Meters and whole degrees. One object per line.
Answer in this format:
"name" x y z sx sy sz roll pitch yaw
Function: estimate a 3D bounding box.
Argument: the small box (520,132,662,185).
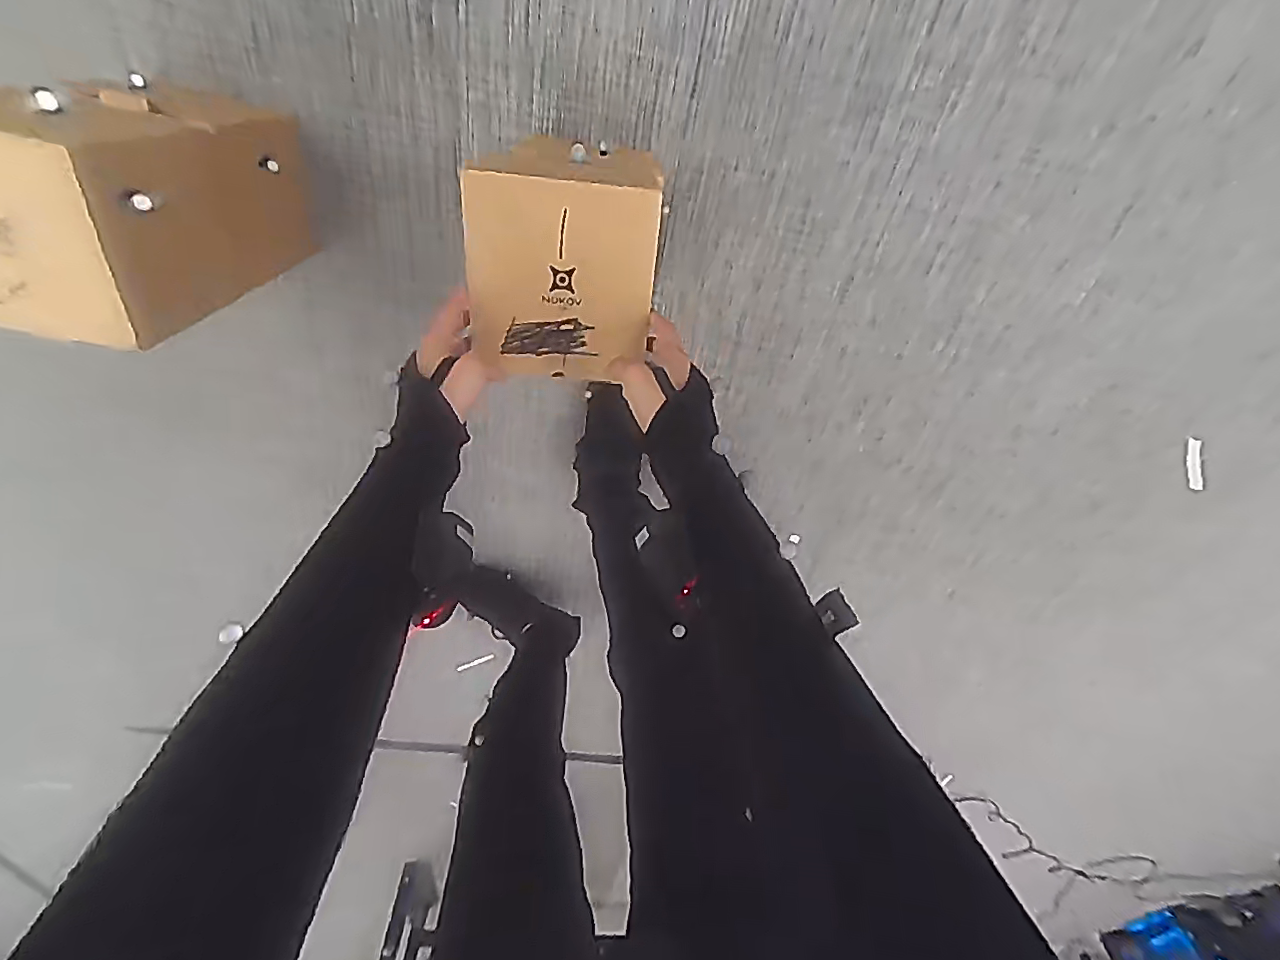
"small box" -0.068 -0.324 0.687 0.168 0.176 0.179 5 125 -5

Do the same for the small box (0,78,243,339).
"small box" -0.528 -0.264 0.519 0.168 0.176 0.179 10 127 -7

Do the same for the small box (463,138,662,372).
"small box" -0.074 -0.231 0.550 0.168 0.176 0.179 4 125 -6

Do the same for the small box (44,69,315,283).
"small box" -0.521 -0.364 0.649 0.168 0.176 0.179 10 126 -7
